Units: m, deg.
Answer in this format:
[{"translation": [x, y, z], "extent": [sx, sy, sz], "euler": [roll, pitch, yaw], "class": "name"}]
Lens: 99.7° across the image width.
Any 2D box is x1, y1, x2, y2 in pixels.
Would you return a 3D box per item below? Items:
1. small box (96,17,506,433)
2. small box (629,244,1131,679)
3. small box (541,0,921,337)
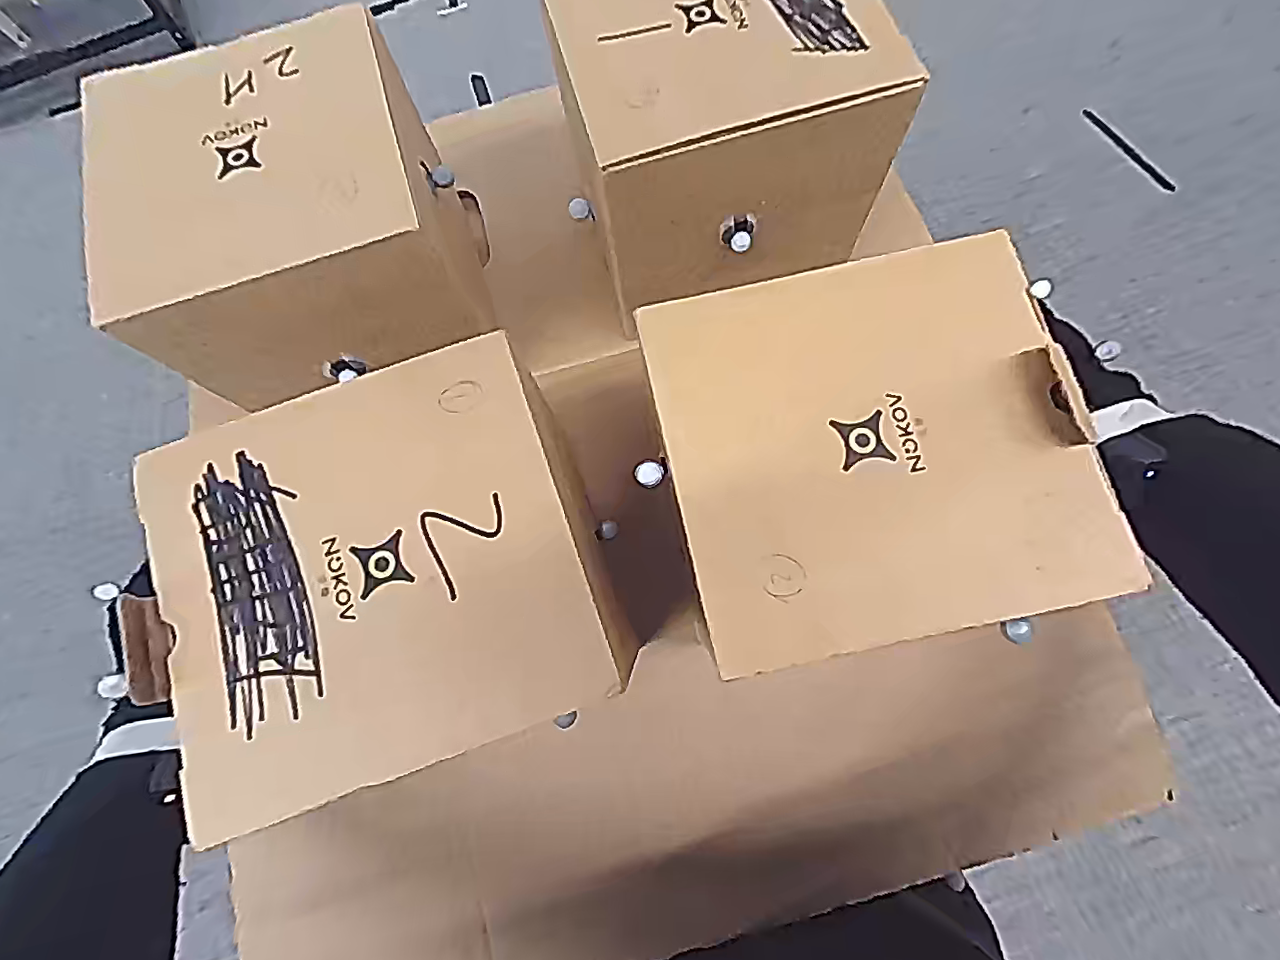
[{"translation": [-0.205, -0.147, 0.368], "extent": [0.168, 0.176, 0.179], "euler": [-17, 73, -2], "class": "small box"}, {"translation": [0.099, 0.003, 0.309], "extent": [0.179, 0.176, 0.168], "euler": [-12, 78, 0], "class": "small box"}, {"translation": [0.047, -0.223, 0.371], "extent": [0.179, 0.176, 0.168], "euler": [-16, 74, 1], "class": "small box"}]
